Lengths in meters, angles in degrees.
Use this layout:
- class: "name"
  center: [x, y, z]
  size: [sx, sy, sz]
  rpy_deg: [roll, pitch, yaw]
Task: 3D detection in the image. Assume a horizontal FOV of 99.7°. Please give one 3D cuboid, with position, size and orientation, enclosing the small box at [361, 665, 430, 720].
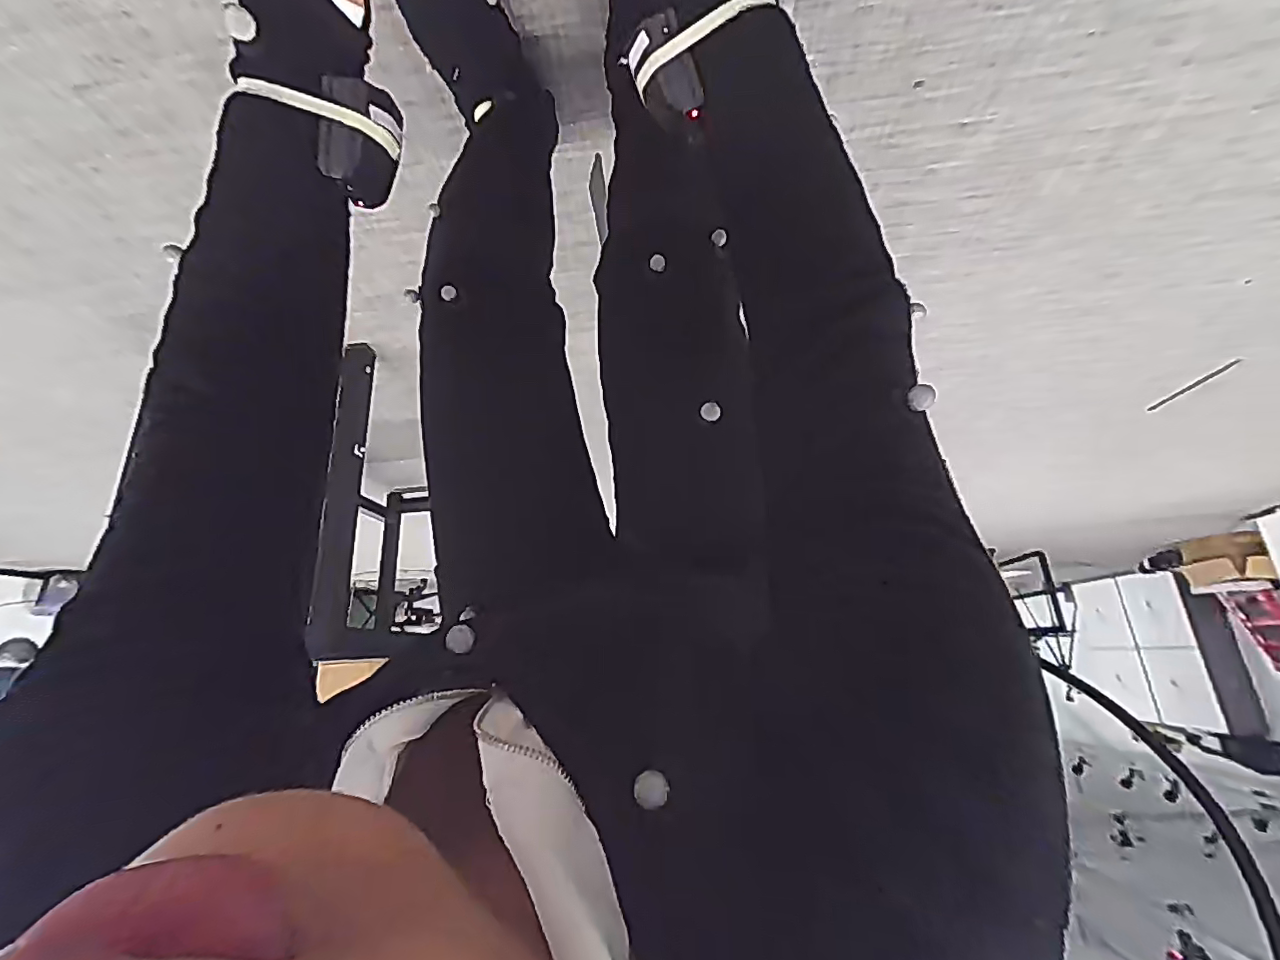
- class: "small box"
  center: [-0.863, 0.749, 1.923]
  size: [0.179, 0.176, 0.168]
  rpy_deg: [-4, 160, 2]
